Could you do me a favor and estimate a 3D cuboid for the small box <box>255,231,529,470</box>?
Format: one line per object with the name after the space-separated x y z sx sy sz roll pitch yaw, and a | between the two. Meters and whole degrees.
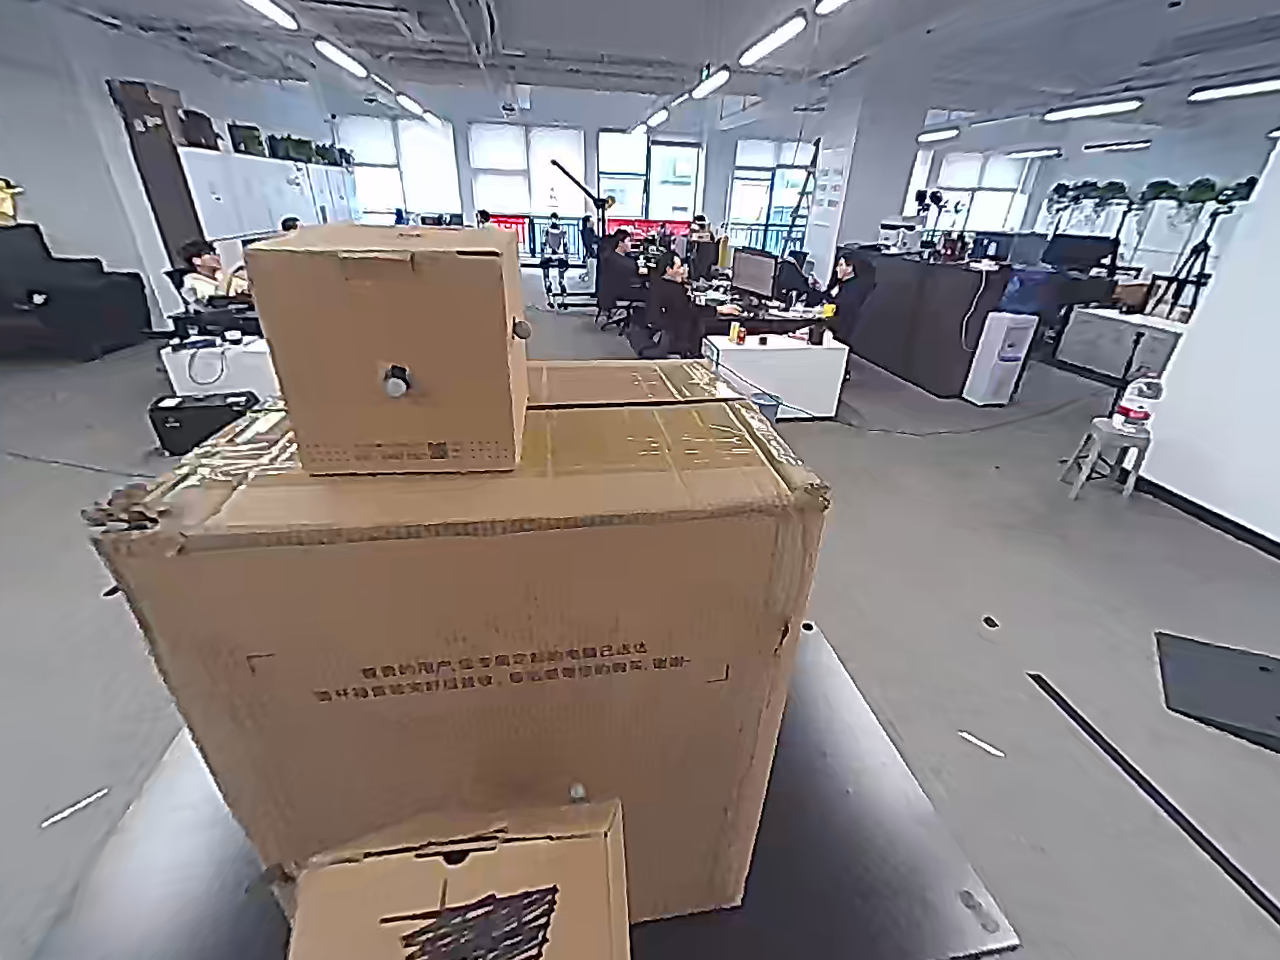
-0.187 -0.117 0.476 0.168 0.176 0.179 -2 30 -8 | small box

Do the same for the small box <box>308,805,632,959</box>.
-0.090 0.314 0.342 0.168 0.176 0.179 -5 63 -2 | small box
